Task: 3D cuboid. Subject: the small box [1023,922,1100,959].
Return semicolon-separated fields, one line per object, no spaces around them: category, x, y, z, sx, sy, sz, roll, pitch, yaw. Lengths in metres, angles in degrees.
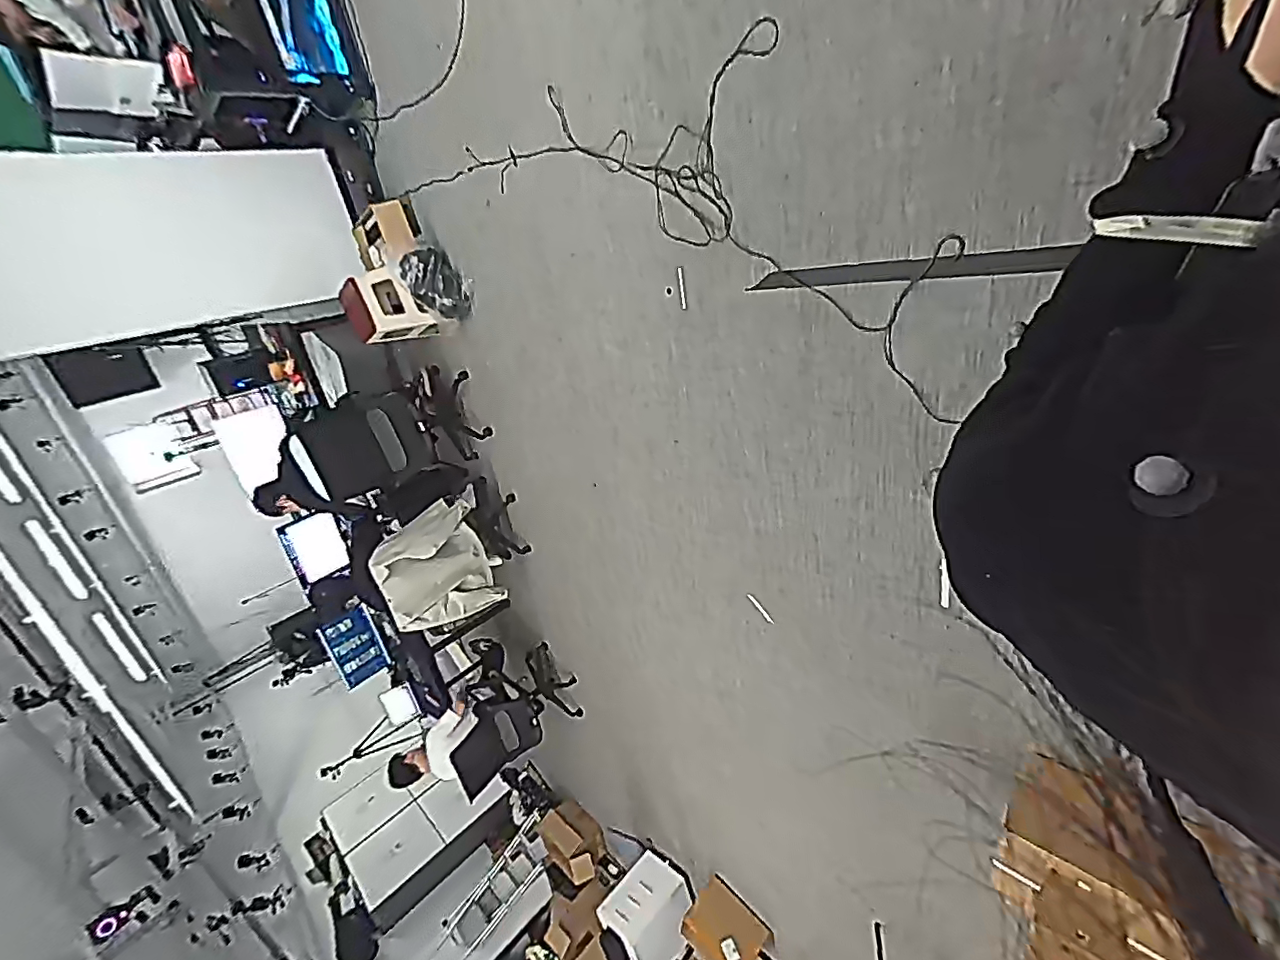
small box;0.980;1.195;1.248;0.168;0.176;0.179;14;122;44

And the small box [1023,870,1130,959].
small box;1.091;1.138;1.352;0.179;0.176;0.168;14;122;45
